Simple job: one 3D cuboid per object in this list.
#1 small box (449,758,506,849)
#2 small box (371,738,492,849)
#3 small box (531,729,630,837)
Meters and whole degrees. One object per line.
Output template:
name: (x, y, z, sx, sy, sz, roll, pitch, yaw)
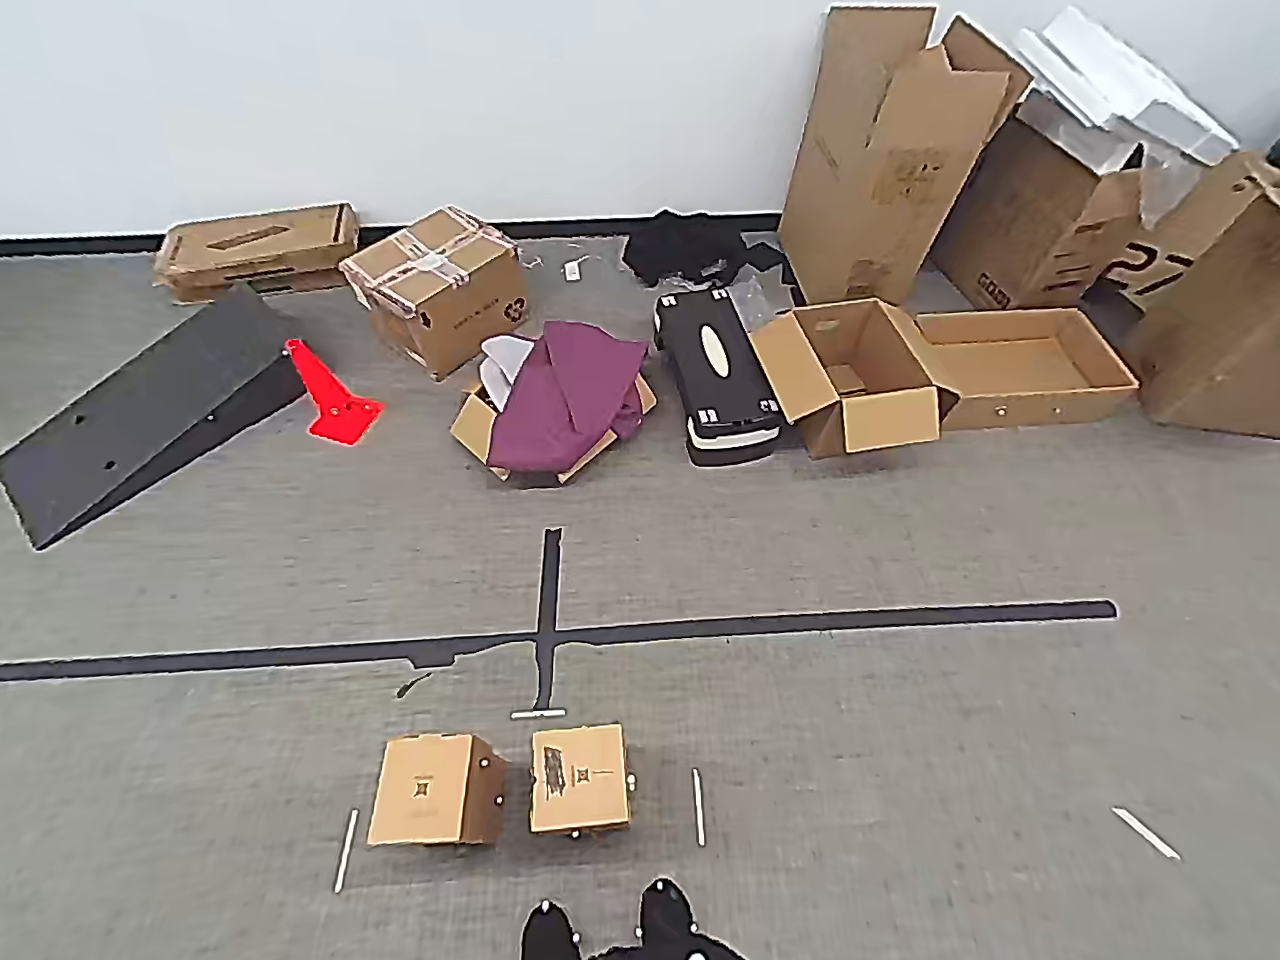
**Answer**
small box: (-0.405, 0.719, 1.201, 0.179, 0.176, 0.168, -1, 55, 0)
small box: (-0.398, 0.623, 1.070, 0.168, 0.176, 0.179, -3, 57, 0)
small box: (-0.114, 0.607, 1.079, 0.179, 0.176, 0.168, -4, 56, -3)
